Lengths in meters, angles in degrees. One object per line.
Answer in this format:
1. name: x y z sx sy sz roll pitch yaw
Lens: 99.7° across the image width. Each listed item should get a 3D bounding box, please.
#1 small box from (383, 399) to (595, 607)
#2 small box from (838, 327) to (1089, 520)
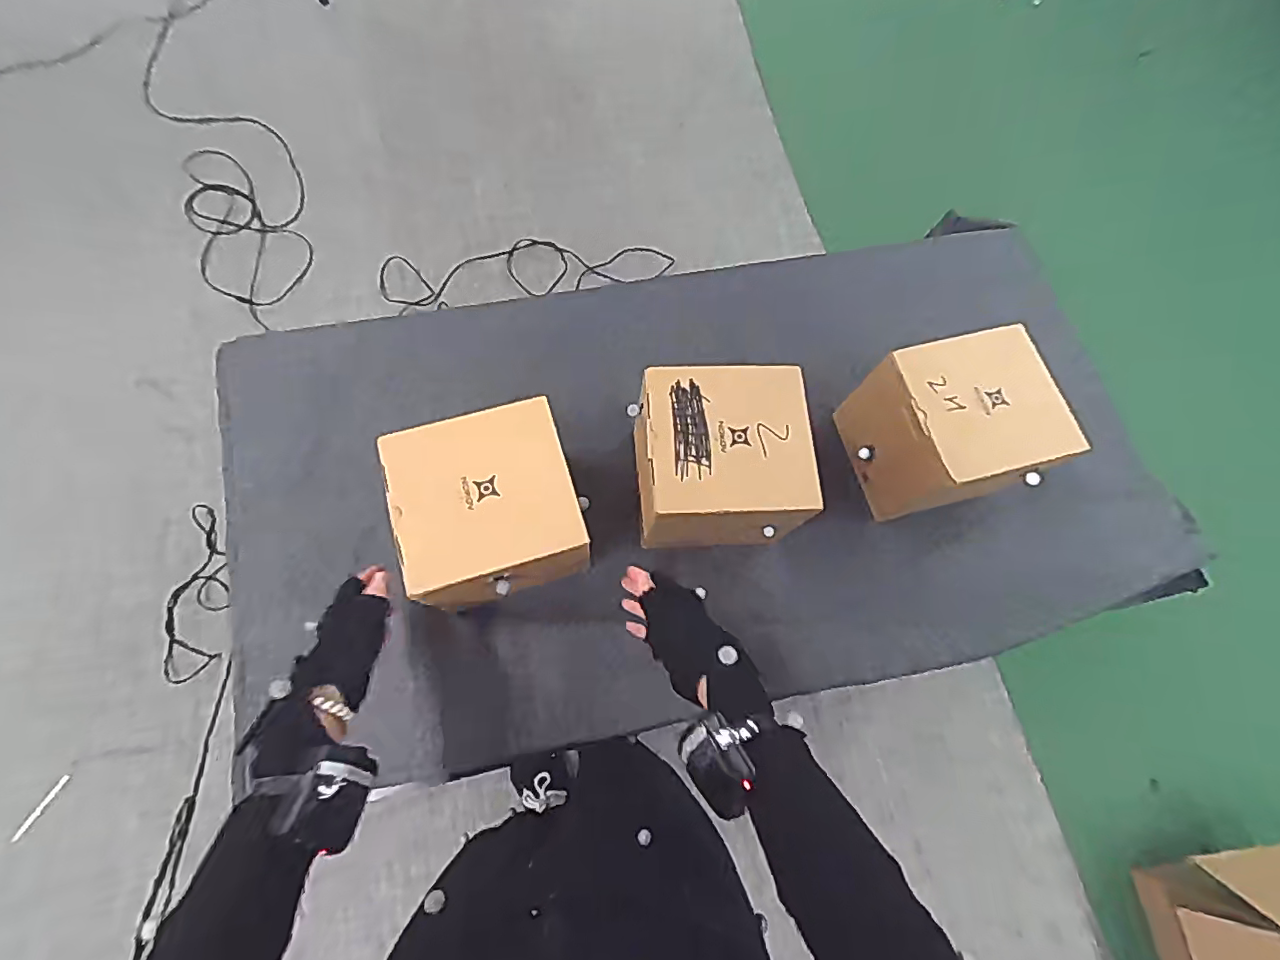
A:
1. small box: -0.156 0.034 0.605 0.179 0.176 0.168 -16 74 -9
2. small box: 0.383 -0.062 0.675 0.179 0.176 0.168 -13 73 -9
